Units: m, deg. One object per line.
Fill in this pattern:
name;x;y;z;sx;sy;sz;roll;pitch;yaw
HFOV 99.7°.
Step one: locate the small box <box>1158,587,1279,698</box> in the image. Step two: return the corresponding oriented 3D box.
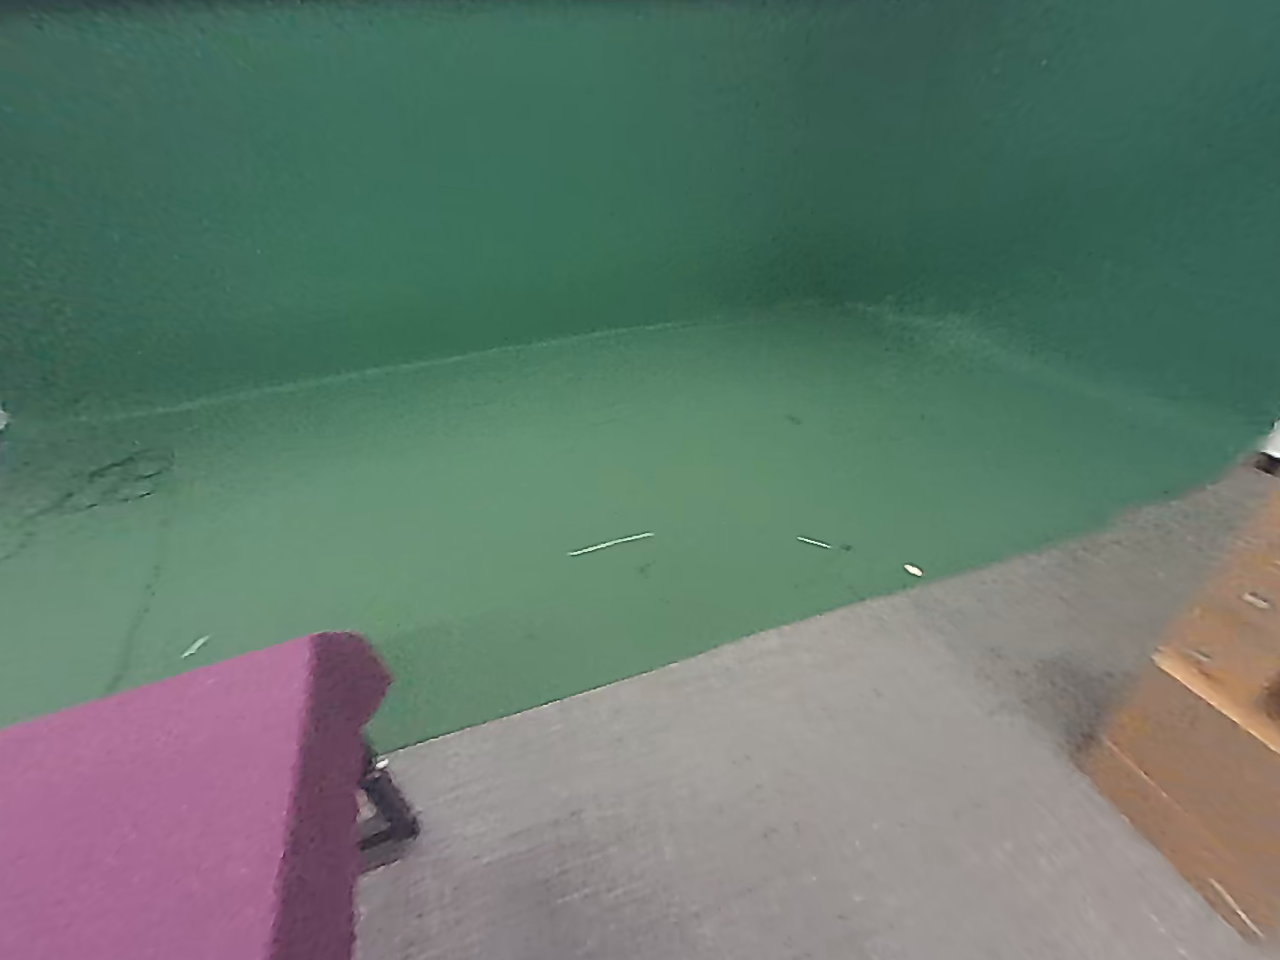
small box;1.256;0.321;1.129;0.179;0.176;0.168;-15;37;-12
